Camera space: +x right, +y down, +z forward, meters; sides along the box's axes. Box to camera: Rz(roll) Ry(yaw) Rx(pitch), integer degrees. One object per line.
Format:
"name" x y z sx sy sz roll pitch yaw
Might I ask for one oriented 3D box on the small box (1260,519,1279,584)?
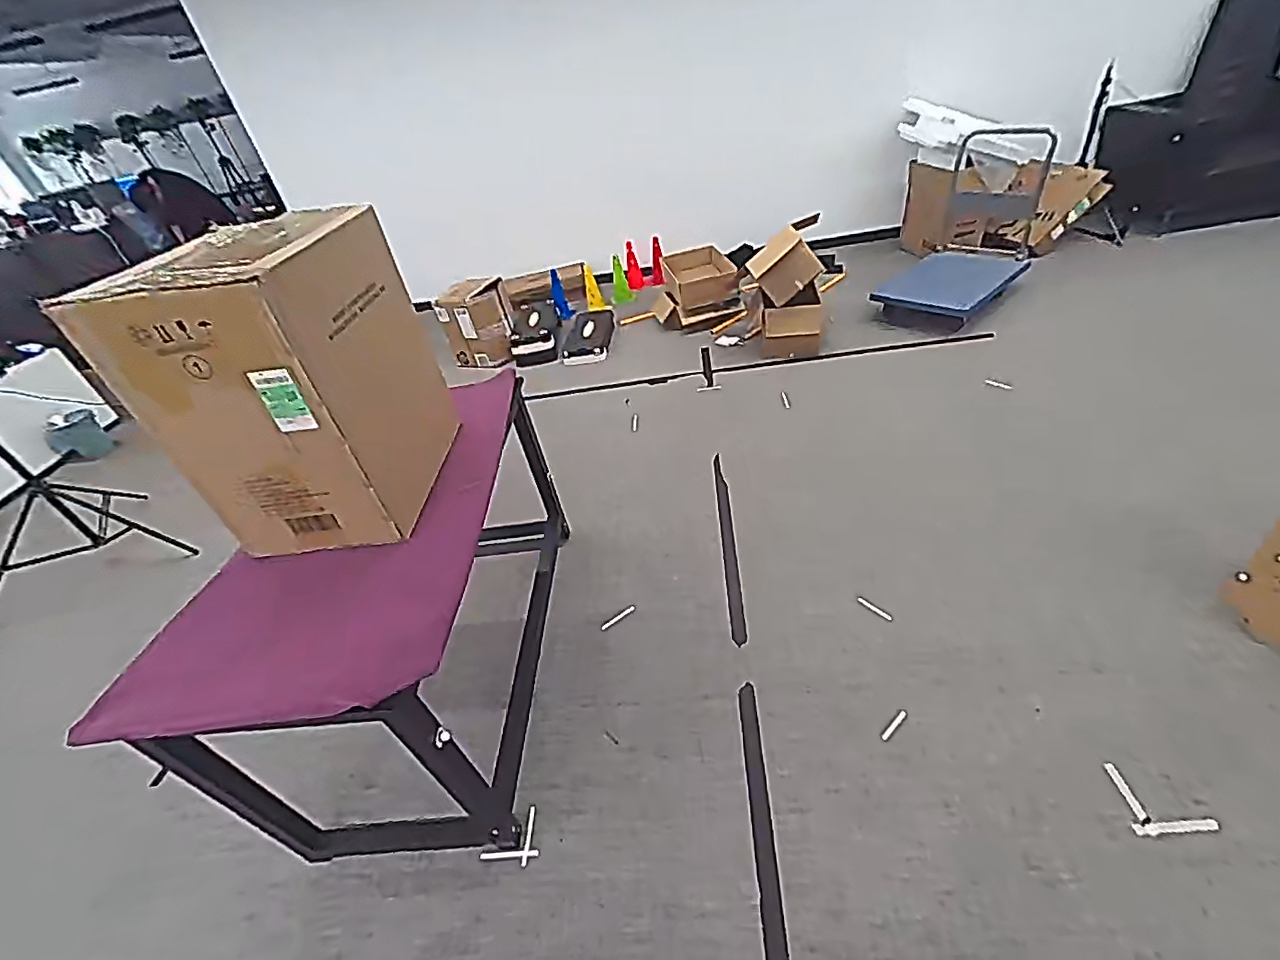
"small box" 1.774 0.204 1.389 0.179 0.176 0.168 -2 39 12
